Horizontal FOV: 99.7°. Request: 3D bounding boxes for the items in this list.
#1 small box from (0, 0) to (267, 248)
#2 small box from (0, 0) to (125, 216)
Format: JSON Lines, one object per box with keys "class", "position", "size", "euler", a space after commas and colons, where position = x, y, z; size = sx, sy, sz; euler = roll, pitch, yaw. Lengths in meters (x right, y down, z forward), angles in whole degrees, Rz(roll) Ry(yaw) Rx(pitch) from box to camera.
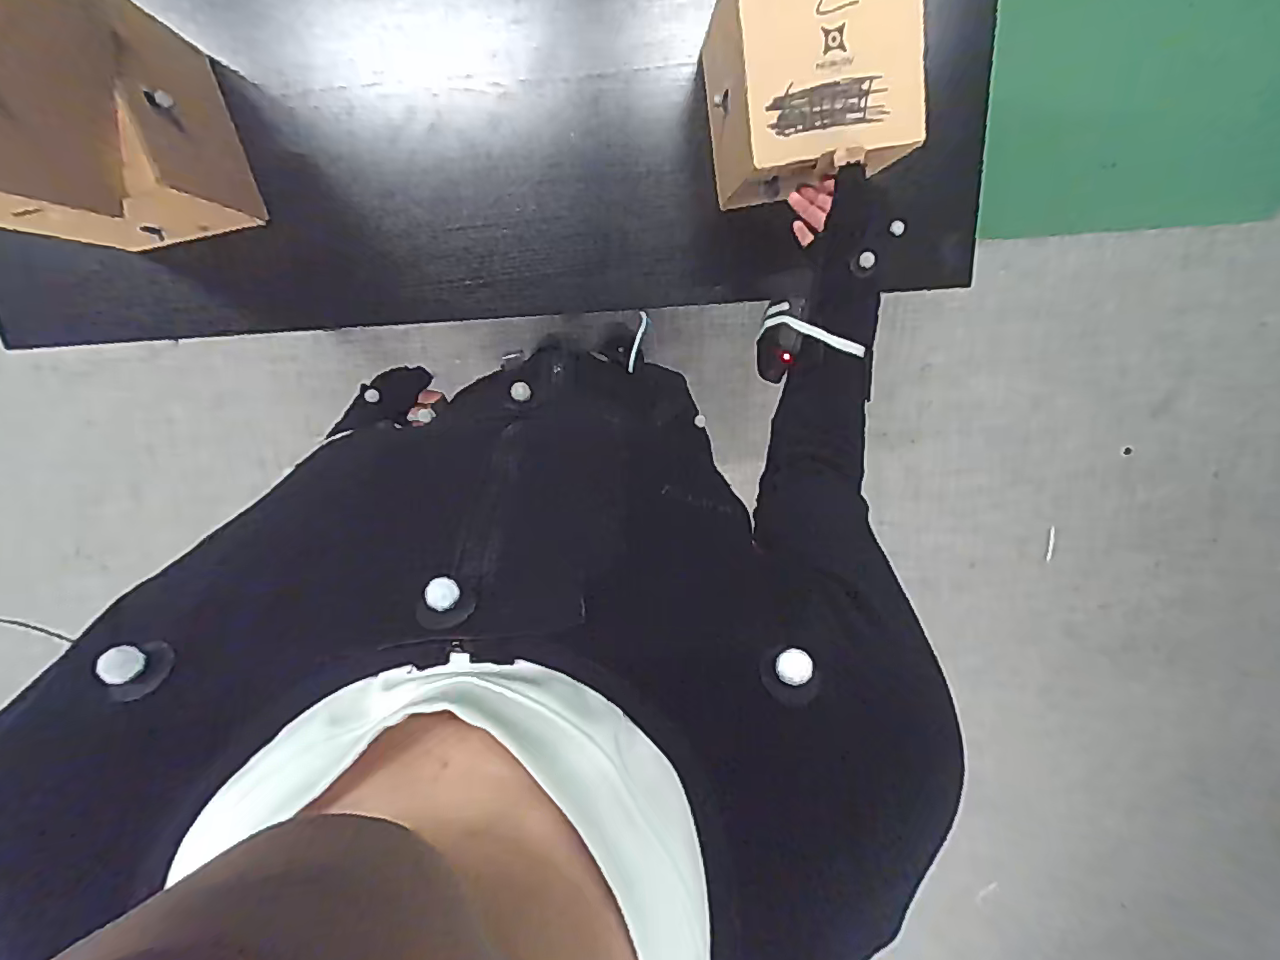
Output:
{"class": "small box", "position": [-0.525, -0.347, 0.536], "size": [0.168, 0.176, 0.179], "euler": [-13, 107, -1]}
{"class": "small box", "position": [-0.517, -0.302, 0.378], "size": [0.168, 0.176, 0.179], "euler": [8, 105, -7]}
